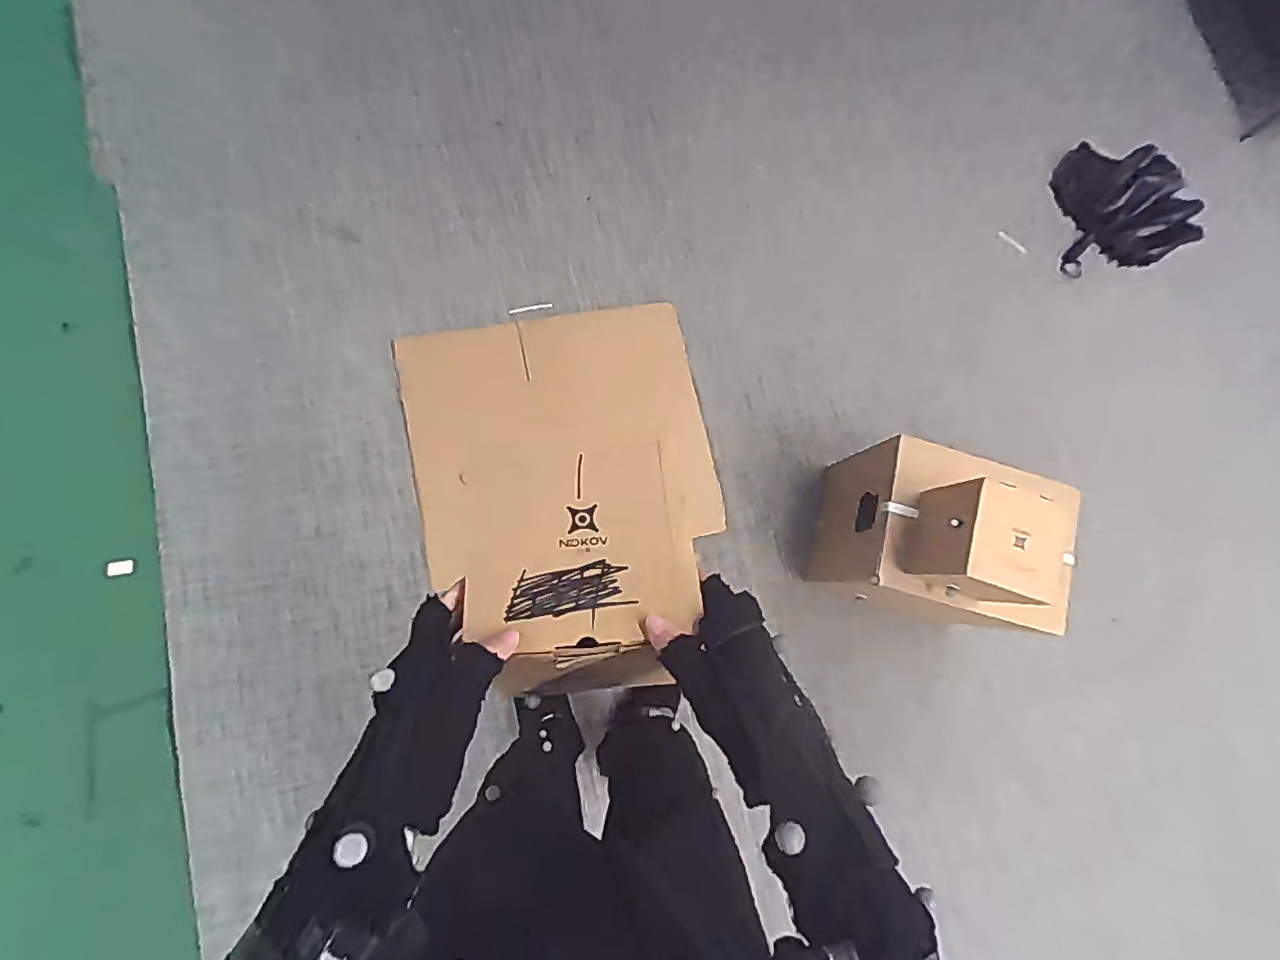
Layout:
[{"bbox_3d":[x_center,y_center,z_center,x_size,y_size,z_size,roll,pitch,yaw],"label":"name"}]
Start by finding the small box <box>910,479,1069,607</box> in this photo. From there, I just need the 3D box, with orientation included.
[{"bbox_3d":[0.618,0.117,0.974,0.168,0.176,0.179,18,79,-2],"label":"small box"}]

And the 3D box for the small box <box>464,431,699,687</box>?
[{"bbox_3d":[-0.048,0.078,0.479,0.168,0.176,0.179,-4,59,-5],"label":"small box"}]
